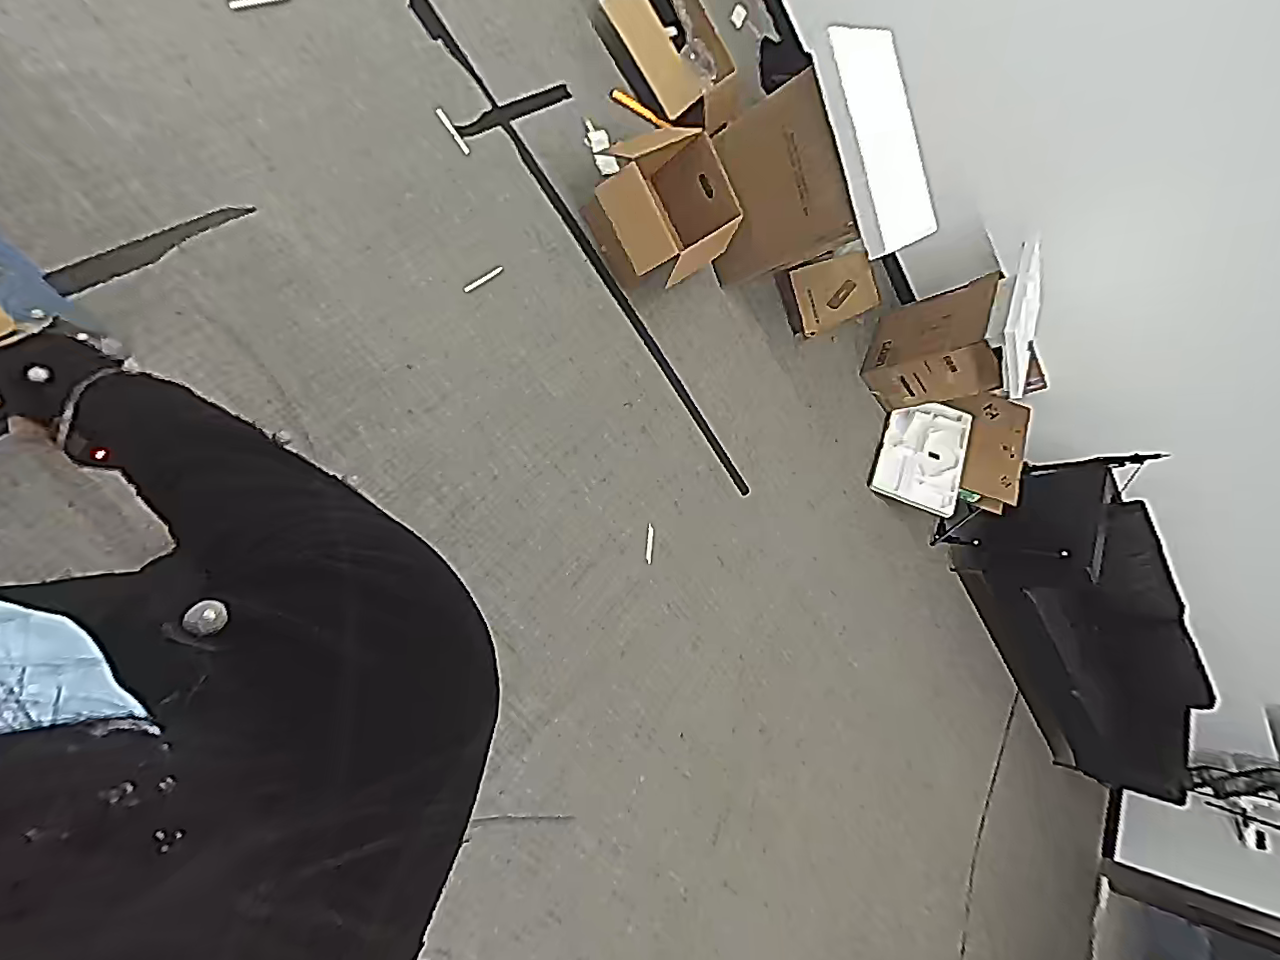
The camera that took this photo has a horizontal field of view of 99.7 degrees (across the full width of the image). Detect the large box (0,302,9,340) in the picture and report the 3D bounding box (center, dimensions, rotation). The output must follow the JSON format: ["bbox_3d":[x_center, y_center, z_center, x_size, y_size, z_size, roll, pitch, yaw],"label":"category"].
[{"bbox_3d":[-1.136,-0.221,0.649,0.408,0.320,0.320,-51,130,-32],"label":"large box"}]
